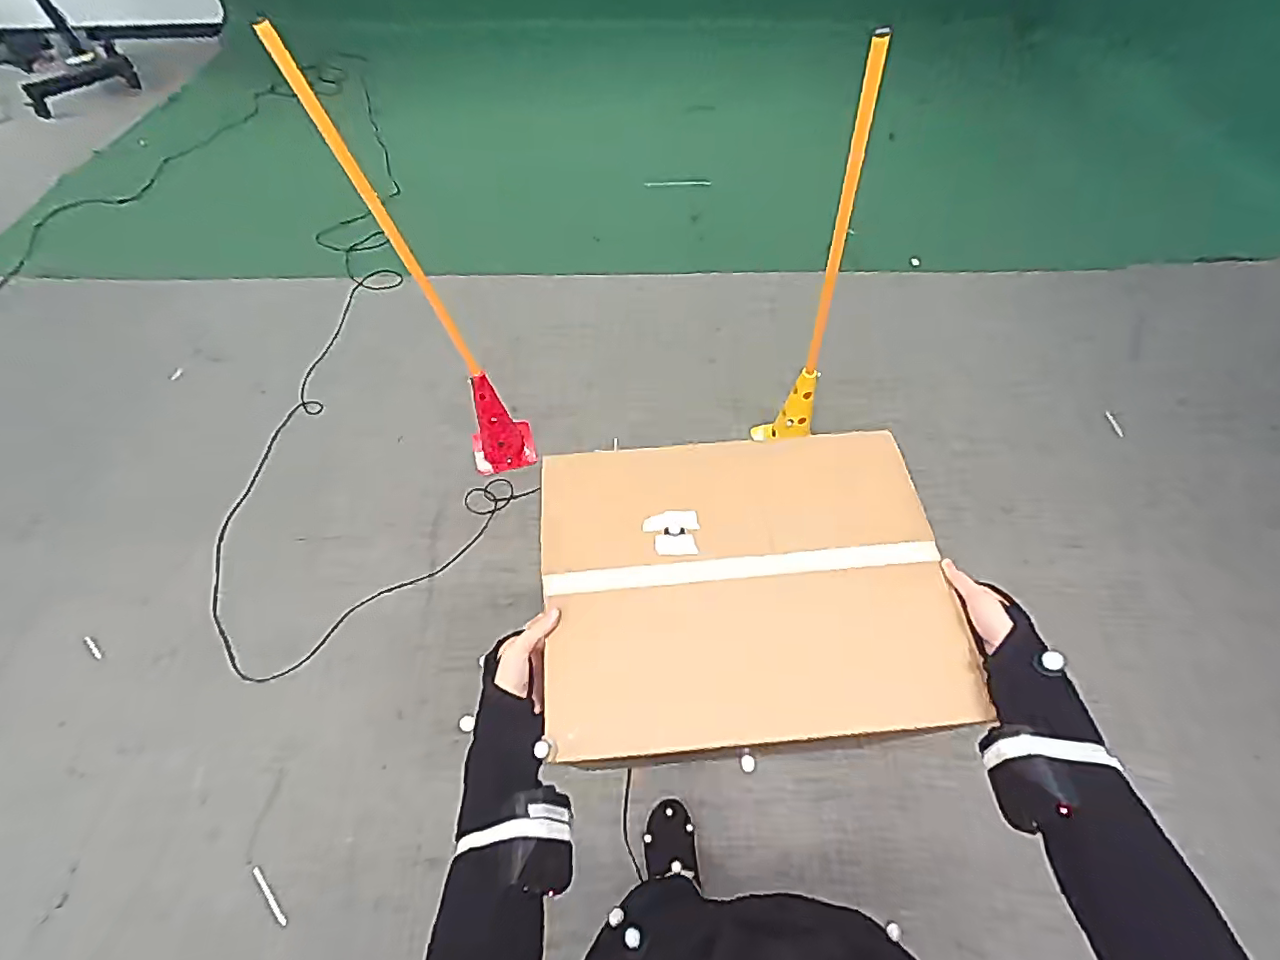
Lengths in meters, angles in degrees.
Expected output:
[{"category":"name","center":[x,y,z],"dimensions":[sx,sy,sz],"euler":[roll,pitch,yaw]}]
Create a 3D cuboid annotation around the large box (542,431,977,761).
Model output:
[{"category":"large box","center":[0.104,0.165,0.688],"dimensions":[0.408,0.320,0.320],"euler":[-5,60,-1]}]
